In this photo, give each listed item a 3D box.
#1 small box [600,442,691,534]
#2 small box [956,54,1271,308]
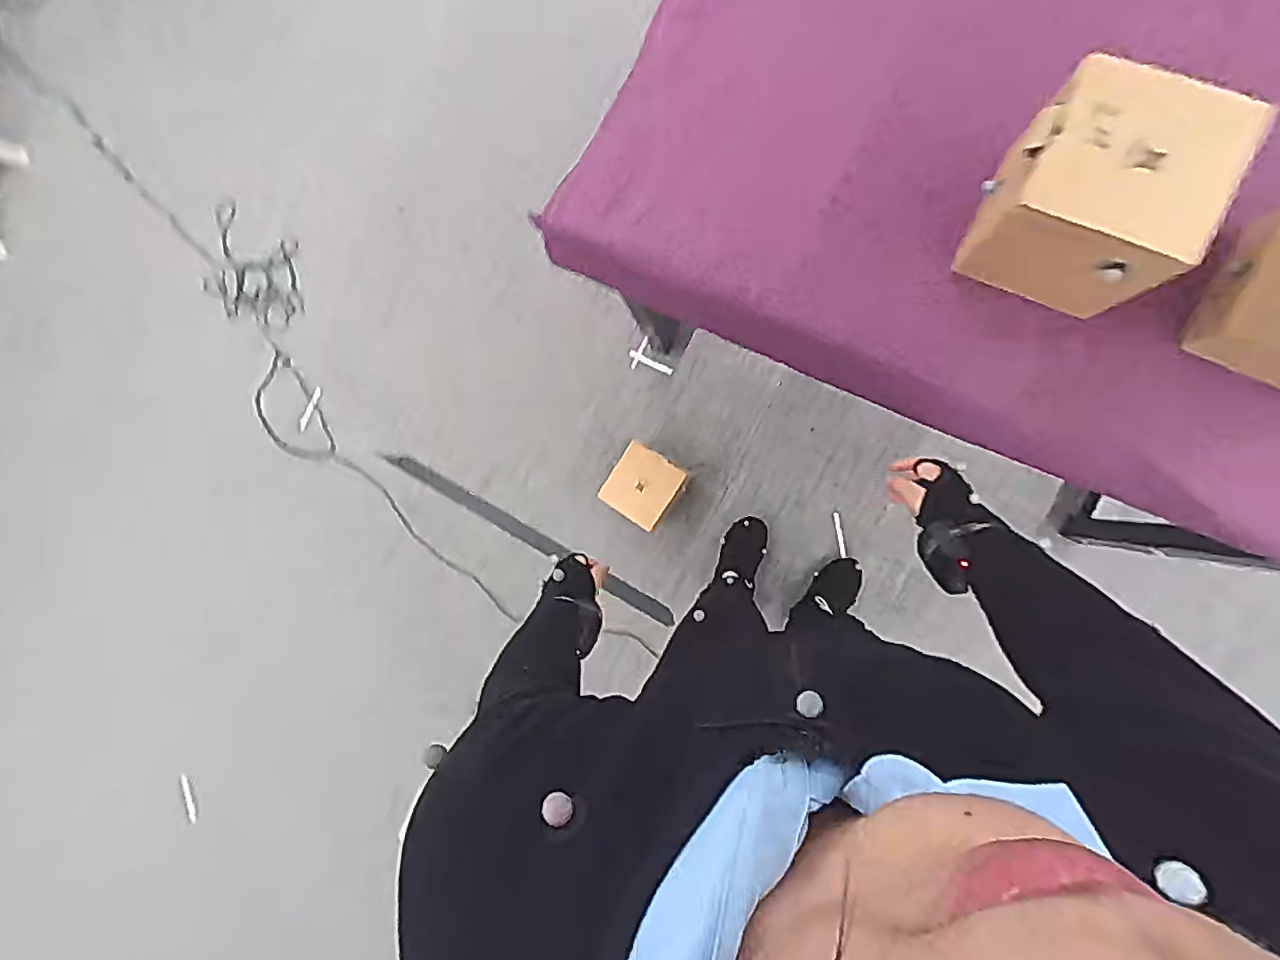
[{"bbox_3d":[0.023,0.022,1.431,0.168,0.176,0.179,33,94,9],"label":"small box"},{"bbox_3d":[0.505,-0.316,0.610,0.179,0.176,0.168,25,92,10],"label":"small box"}]
